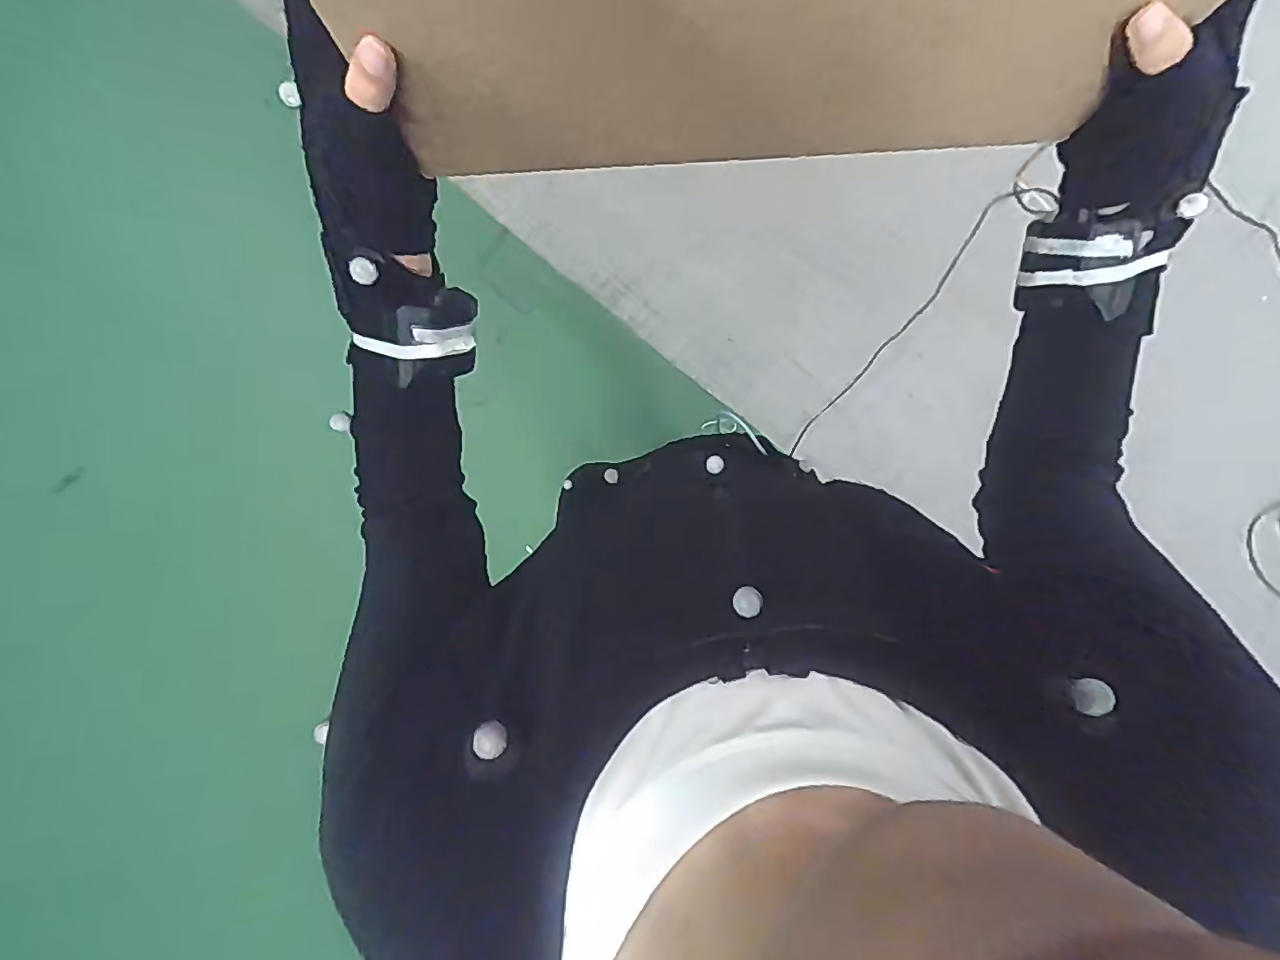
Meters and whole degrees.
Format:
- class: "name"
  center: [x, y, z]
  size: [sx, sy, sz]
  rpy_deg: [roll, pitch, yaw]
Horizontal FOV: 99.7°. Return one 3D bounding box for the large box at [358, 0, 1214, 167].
- class: "large box"
  center: [0.068, -0.362, 0.196]
  size: [0.408, 0.320, 0.320]
  rpy_deg: [-4, 86, -3]
